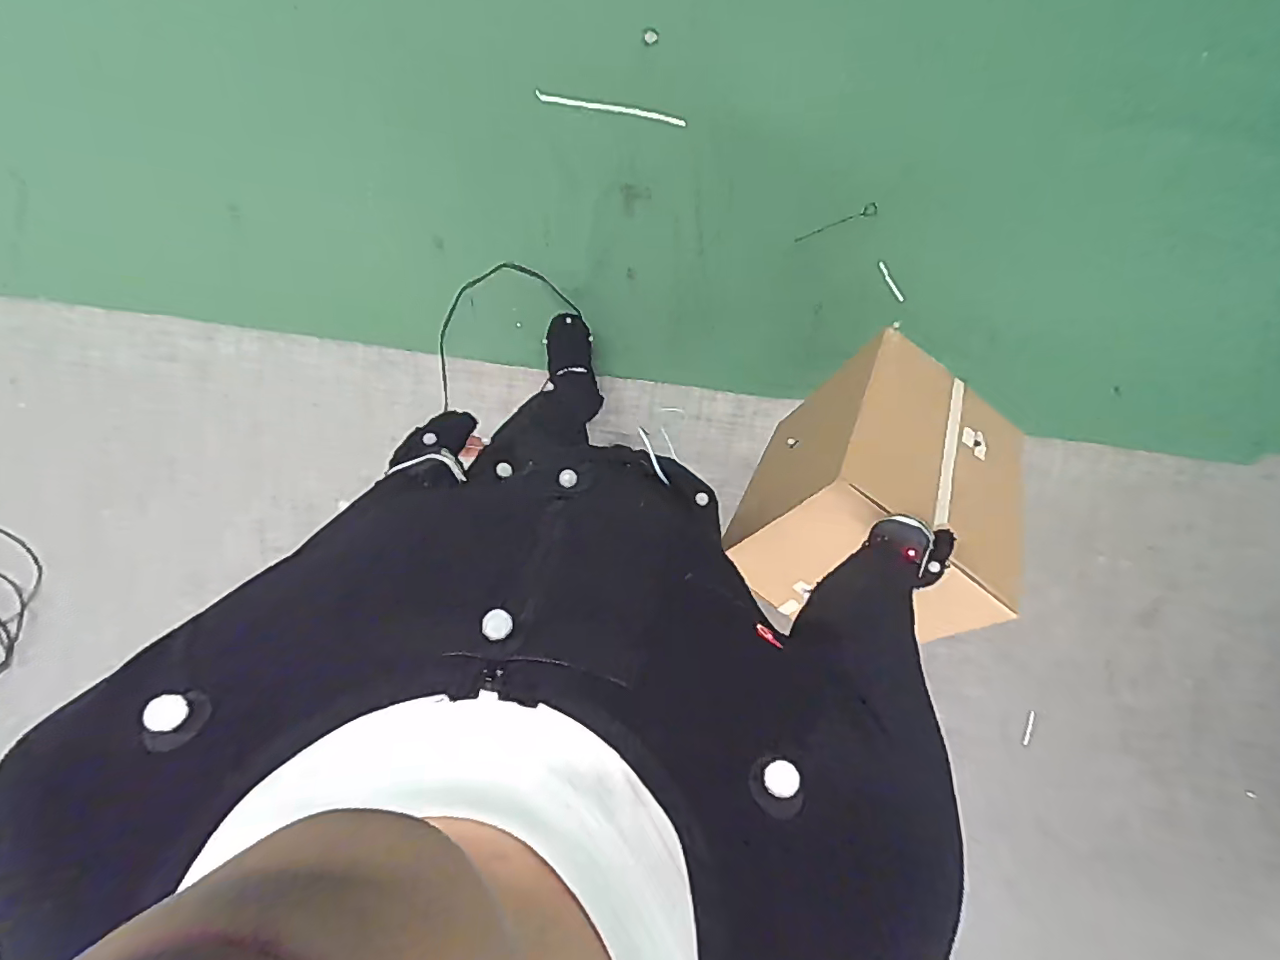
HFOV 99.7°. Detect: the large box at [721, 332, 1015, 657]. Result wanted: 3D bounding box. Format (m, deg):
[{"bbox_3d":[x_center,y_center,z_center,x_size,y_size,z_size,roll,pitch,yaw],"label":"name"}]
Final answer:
[{"bbox_3d":[0.397,0.029,0.947,0.320,0.320,0.408,37,51,-5],"label":"large box"}]
